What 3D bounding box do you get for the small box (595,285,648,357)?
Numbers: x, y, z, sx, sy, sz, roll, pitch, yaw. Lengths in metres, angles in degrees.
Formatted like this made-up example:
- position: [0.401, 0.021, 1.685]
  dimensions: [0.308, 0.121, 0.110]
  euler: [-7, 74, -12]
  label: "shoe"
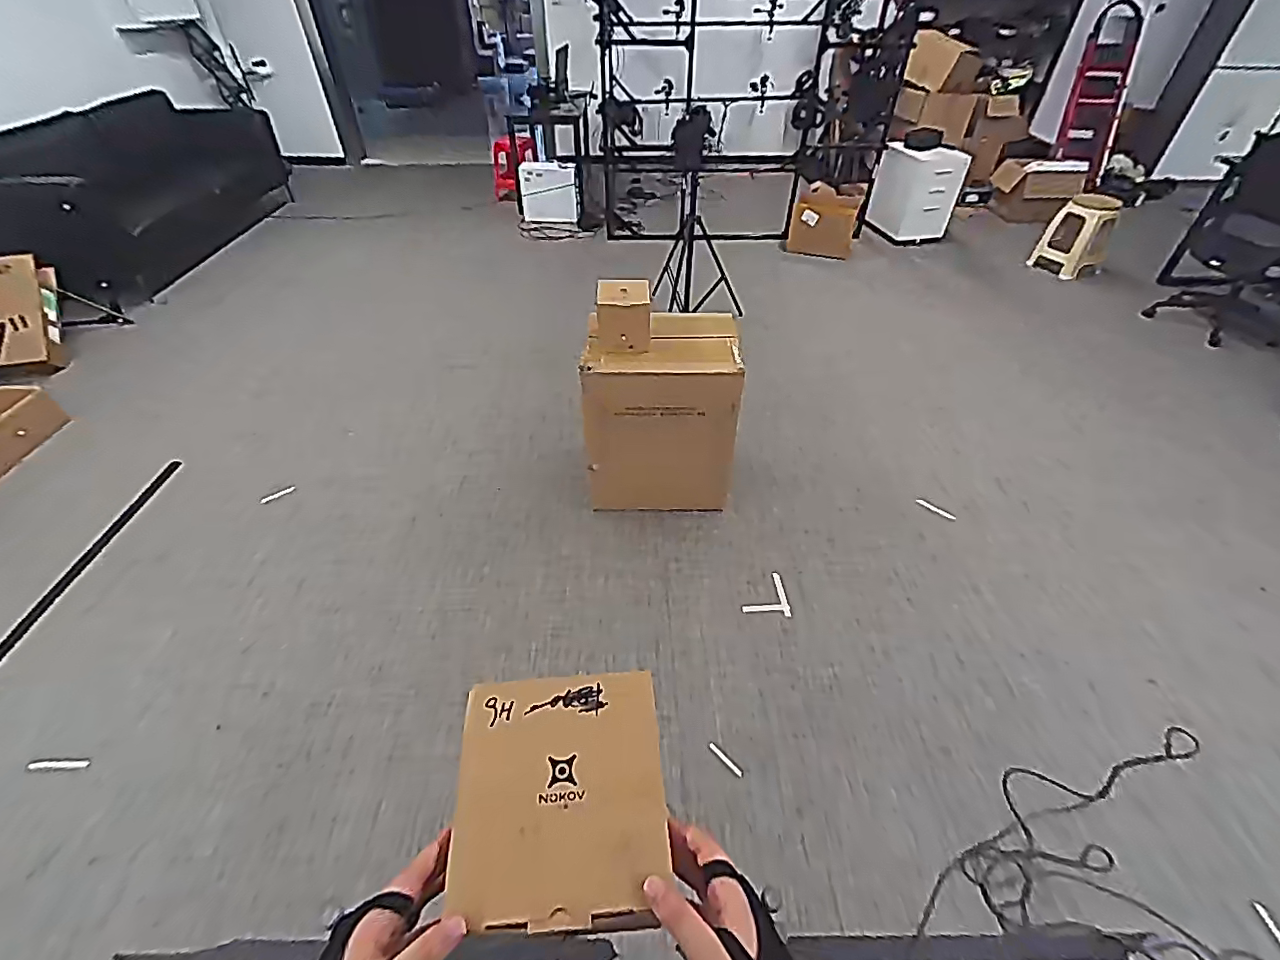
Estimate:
- position: [-0.062, -0.522, 1.775]
  dimensions: [0.168, 0.176, 0.179]
  euler: [-1, 44, -2]
  label: "small box"
